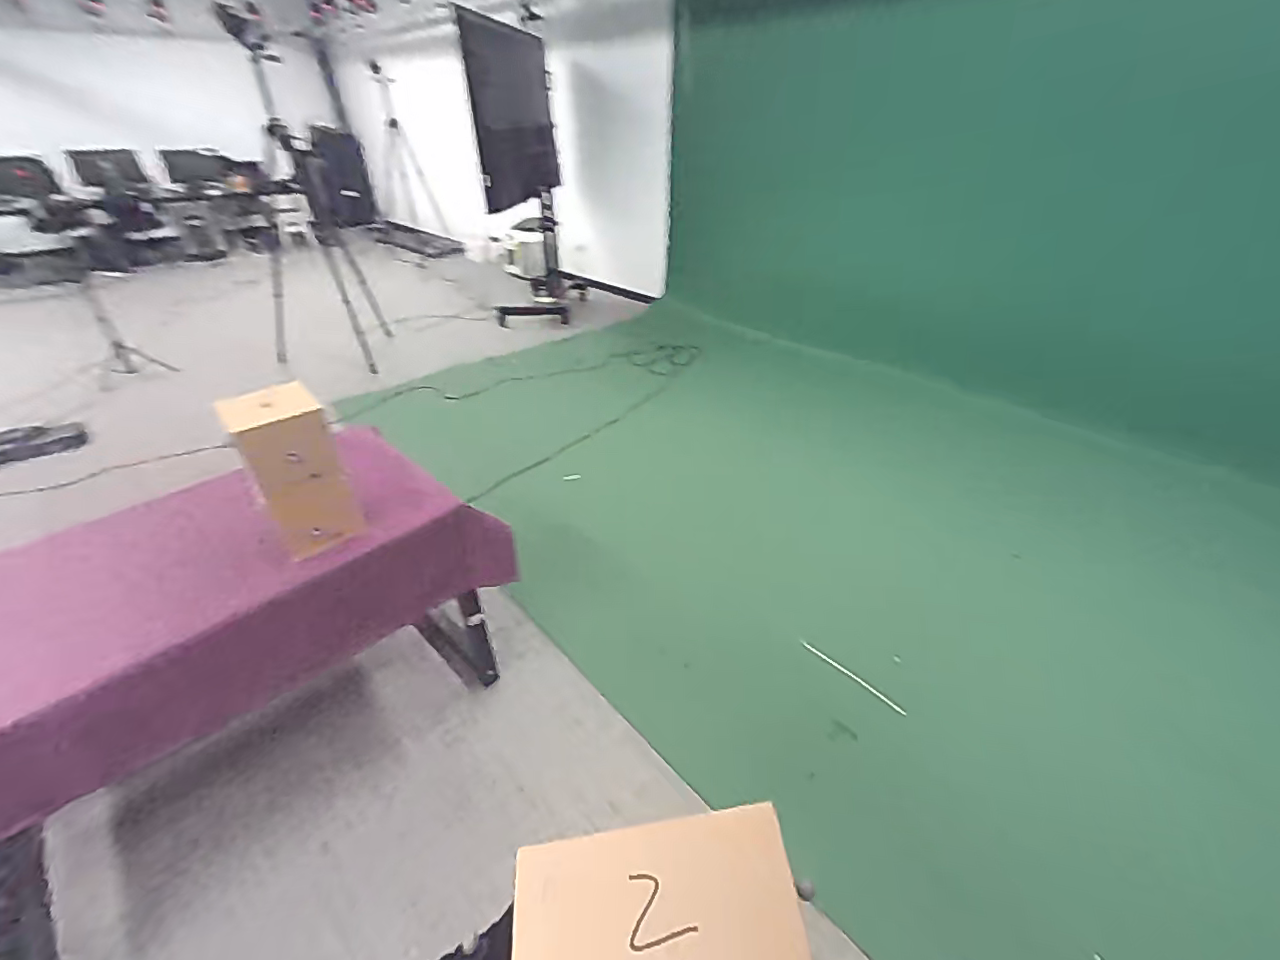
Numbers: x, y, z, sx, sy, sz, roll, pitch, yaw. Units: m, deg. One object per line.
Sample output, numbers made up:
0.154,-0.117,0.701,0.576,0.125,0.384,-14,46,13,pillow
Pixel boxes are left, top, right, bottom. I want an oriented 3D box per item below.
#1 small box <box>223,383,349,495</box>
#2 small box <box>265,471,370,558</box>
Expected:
-0.759,-0.086,1.170,0.168,0.176,0.179,-26,42,-34,small box
-0.760,0.051,1.262,0.168,0.176,0.179,-26,42,-32,small box
